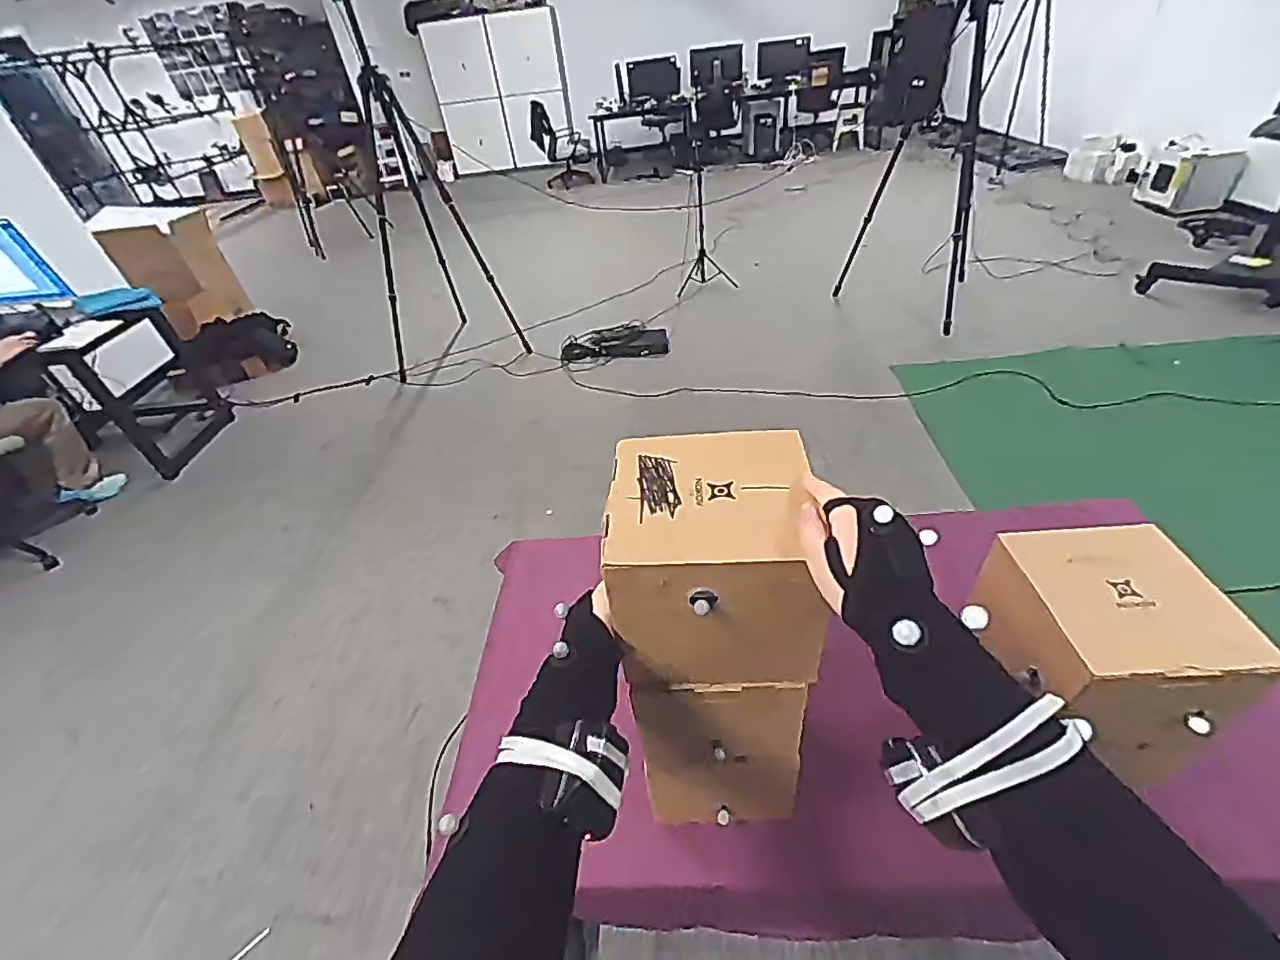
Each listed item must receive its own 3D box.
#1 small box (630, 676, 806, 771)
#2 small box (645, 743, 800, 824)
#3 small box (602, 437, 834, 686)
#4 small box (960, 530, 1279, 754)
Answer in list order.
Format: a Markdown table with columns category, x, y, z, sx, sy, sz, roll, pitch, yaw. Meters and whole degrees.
| category | x | y | z | sx | sy | sz | roll | pitch | yaw |
| --- | --- | --- | --- | --- | --- | --- | --- | --- | --- |
| small box | 0.082 | 0.205 | 0.615 | 0.168 | 0.176 | 0.179 | -5 | 40 | 5 |
| small box | 0.099 | 0.334 | 0.716 | 0.179 | 0.176 | 0.168 | -5 | 39 | 3 |
| small box | 0.069 | 0.078 | 0.511 | 0.179 | 0.176 | 0.168 | -3 | 40 | 5 |
| small box | 0.481 | 0.177 | 0.582 | 0.168 | 0.176 | 0.179 | -4 | 40 | 5 |
